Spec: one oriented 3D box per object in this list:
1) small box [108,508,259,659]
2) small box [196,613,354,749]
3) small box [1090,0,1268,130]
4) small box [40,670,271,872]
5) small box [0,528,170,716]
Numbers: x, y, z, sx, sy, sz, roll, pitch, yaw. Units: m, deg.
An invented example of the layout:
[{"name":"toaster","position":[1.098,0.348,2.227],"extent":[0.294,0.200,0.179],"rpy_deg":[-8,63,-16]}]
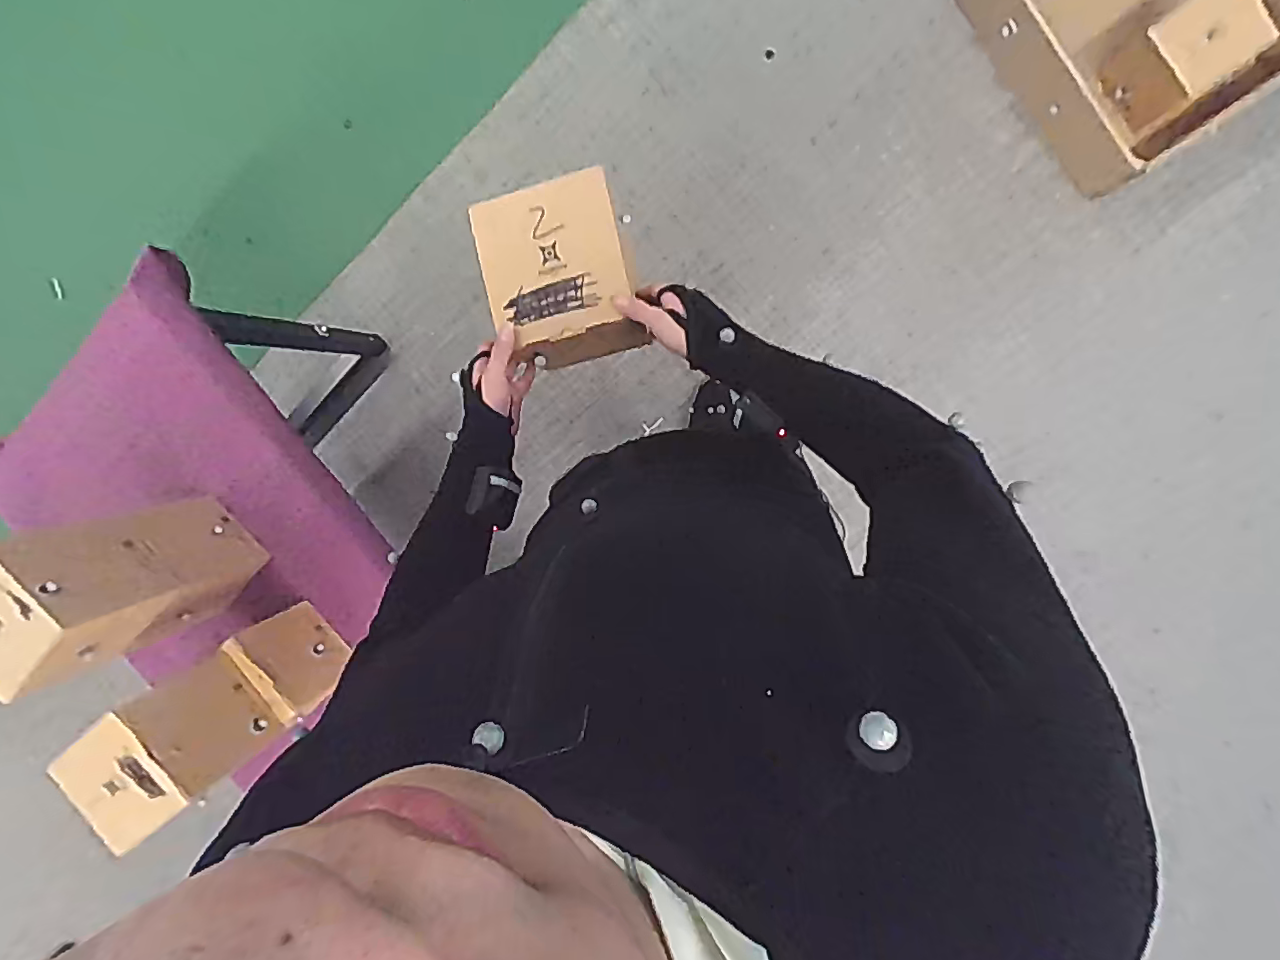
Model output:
[{"name":"small box","position":[-0.836,0.174,0.961],"extent":[0.179,0.176,0.168],"rpy_deg":[-43,91,13]},{"name":"small box","position":[-0.662,0.374,0.967],"extent":[0.179,0.176,0.168],"rpy_deg":[-42,90,12]},{"name":"small box","position":[1.141,-0.912,1.162],"extent":[0.179,0.176,0.168],"rpy_deg":[-35,91,13]},{"name":"small box","position":[-0.706,0.423,0.813],"extent":[0.179,0.176,0.168],"rpy_deg":[-38,91,13]},{"name":"small box","position":[-0.863,0.199,0.801],"extent":[0.168,0.176,0.179],"rpy_deg":[46,104,0]}]
